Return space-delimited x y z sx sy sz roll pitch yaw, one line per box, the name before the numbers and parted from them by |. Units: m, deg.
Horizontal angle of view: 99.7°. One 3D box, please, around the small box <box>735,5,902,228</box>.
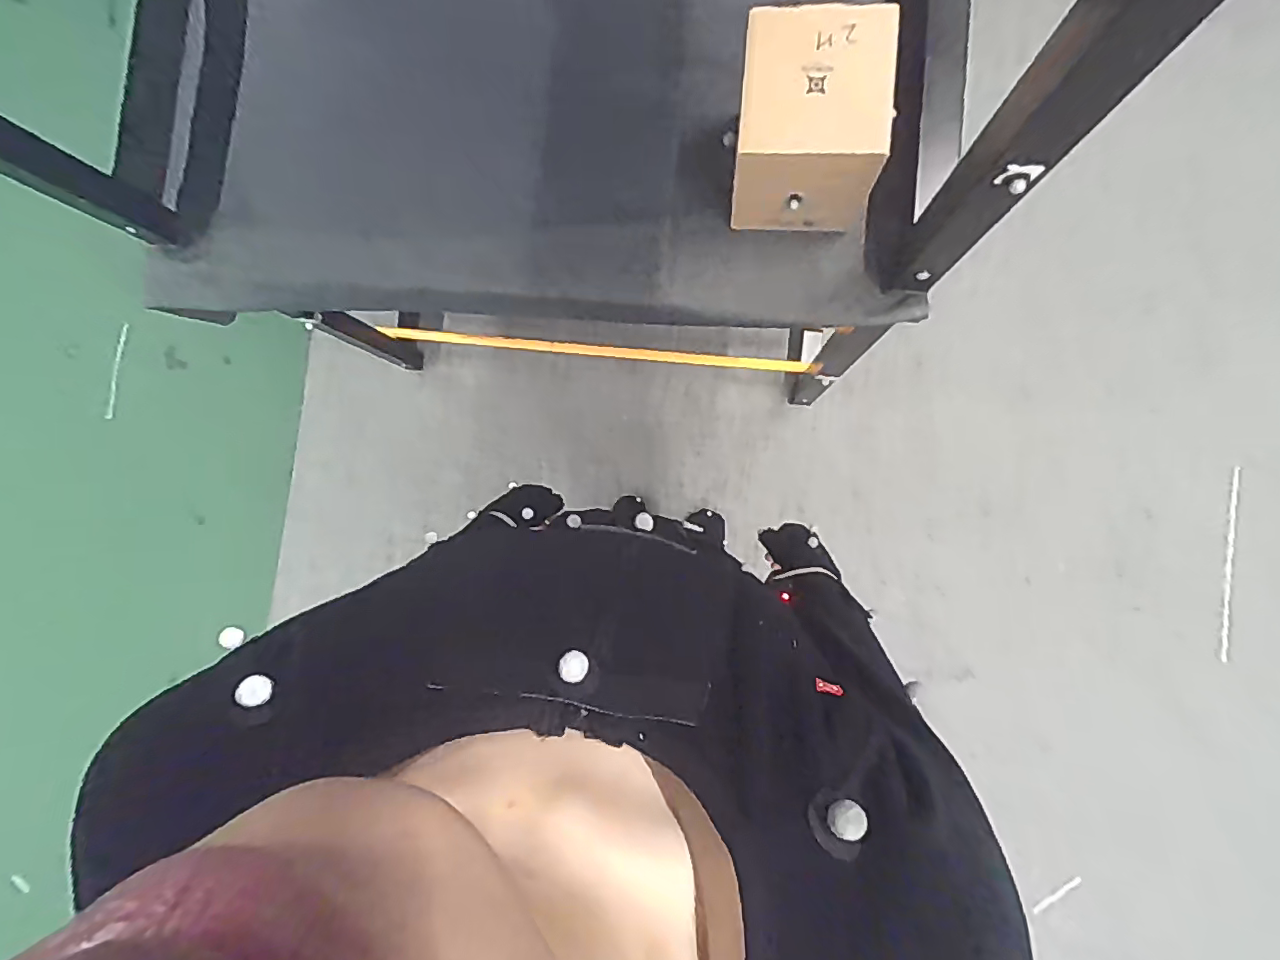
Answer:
small box | 0.211 -0.442 0.684 0.168 0.176 0.179 5 87 7
